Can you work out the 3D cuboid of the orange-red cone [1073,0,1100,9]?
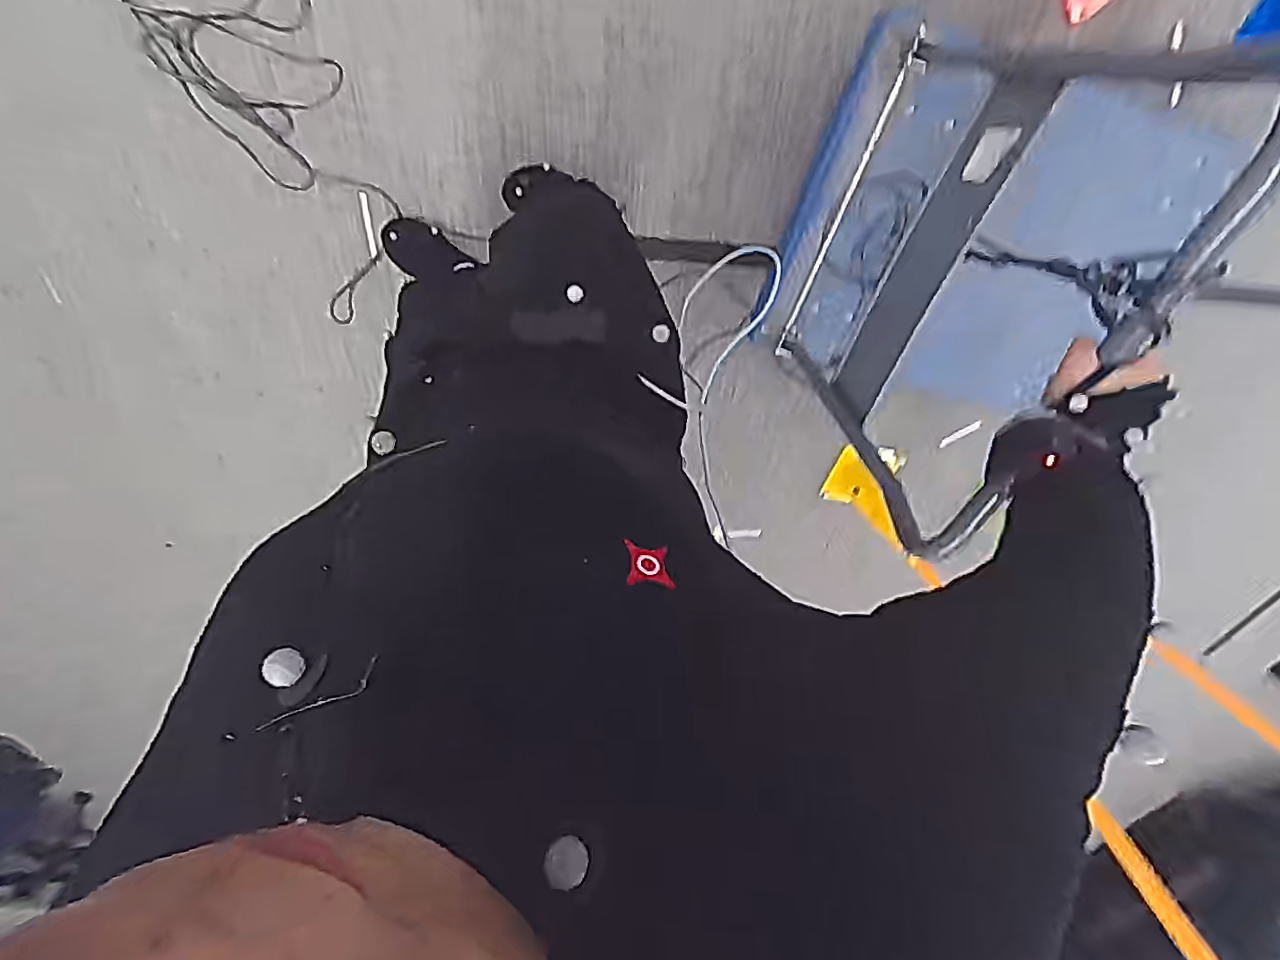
[{"bbox_3d":[0.818,-0.835,0.760,0.198,0.360,0.199,-35,125,21],"label":"orange-red cone"}]

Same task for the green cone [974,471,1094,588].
[{"bbox_3d":[1.192,0.162,1.587,0.202,0.368,0.200,-9,128,3],"label":"green cone"}]

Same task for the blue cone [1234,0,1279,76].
[{"bbox_3d":[1.245,-0.775,0.869,0.192,0.380,0.193,14,126,-15],"label":"blue cone"}]
